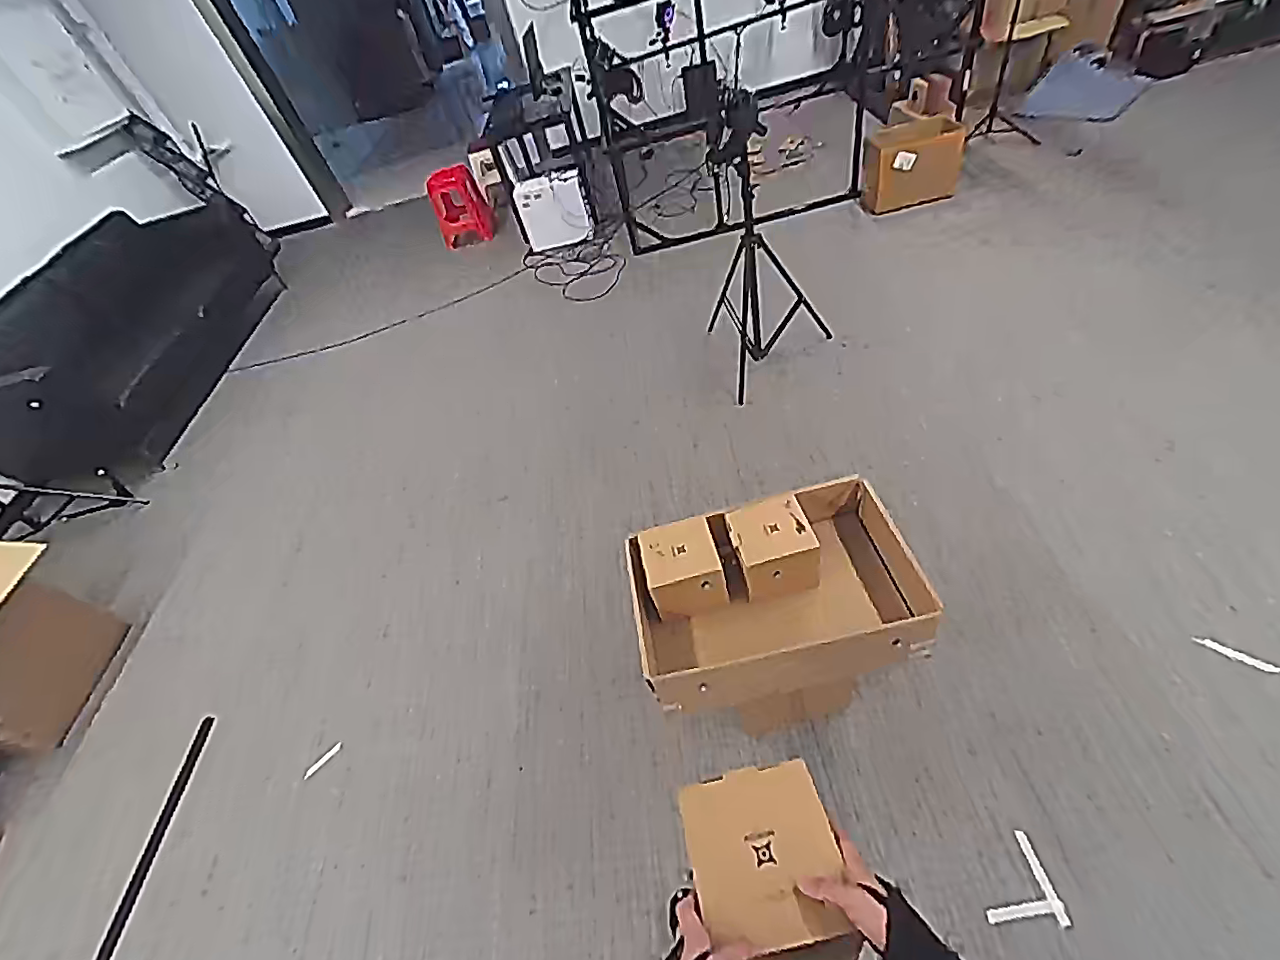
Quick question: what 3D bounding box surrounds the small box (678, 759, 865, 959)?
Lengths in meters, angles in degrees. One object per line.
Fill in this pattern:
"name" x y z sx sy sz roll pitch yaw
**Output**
"small box" 0.147 0.478 0.653 0.168 0.176 0.179 -12 37 -1
